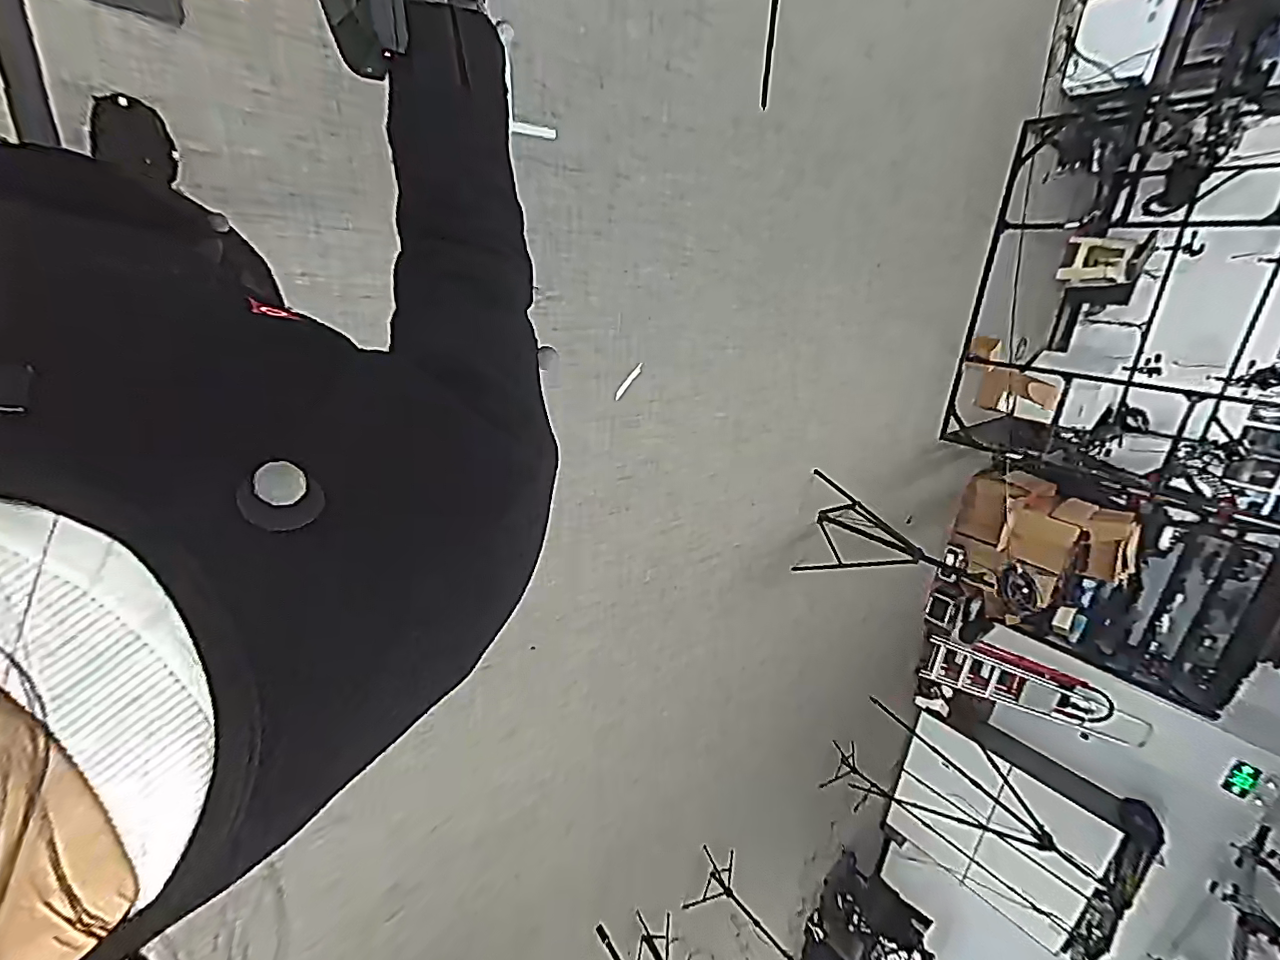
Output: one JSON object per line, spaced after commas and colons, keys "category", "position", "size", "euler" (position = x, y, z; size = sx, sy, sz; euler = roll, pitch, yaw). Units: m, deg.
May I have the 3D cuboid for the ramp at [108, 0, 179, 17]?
{"category": "ramp", "position": [-0.900, -1.214, 0.590], "size": [0.509, 0.206, 0.991], "euler": [-13, 117, -40]}
